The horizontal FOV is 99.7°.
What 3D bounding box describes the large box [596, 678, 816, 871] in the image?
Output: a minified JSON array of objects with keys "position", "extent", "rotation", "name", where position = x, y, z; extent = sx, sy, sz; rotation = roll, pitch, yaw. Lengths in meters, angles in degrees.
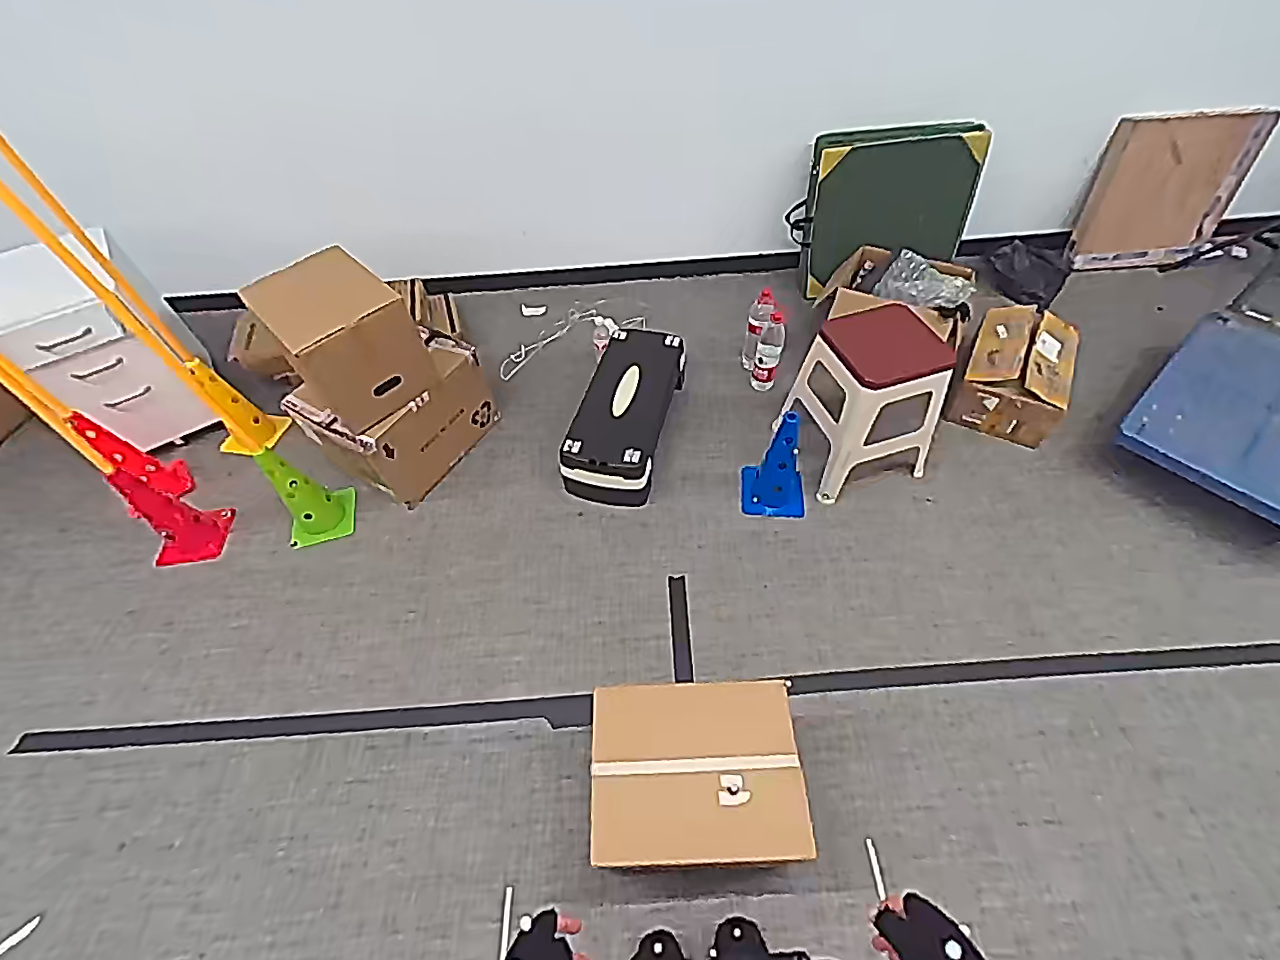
[{"position":[0.115,0.643,1.174],"extent":[0.408,0.320,0.320],"rotation":[-3,53,0],"name":"large box"}]
